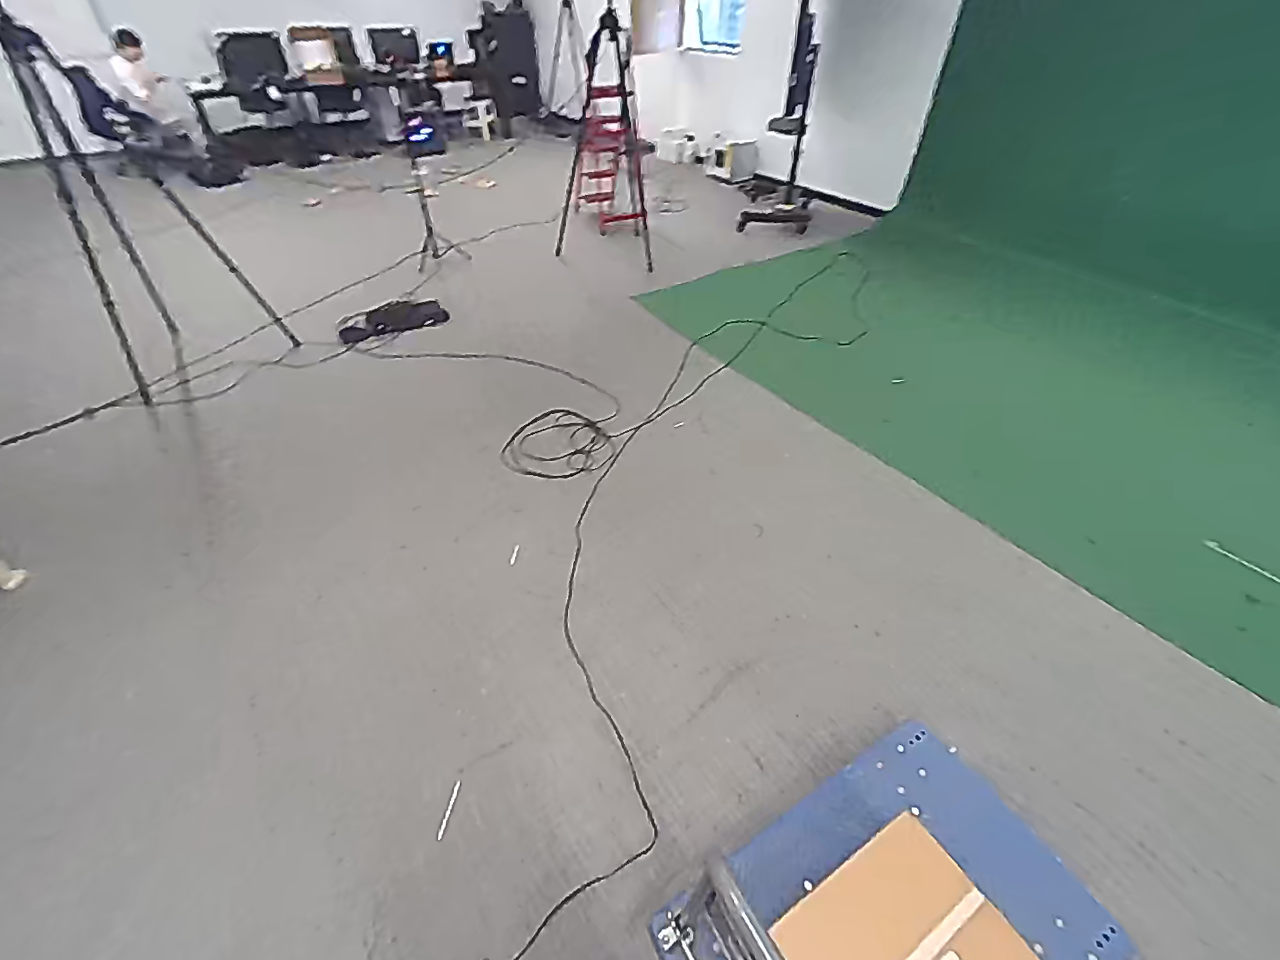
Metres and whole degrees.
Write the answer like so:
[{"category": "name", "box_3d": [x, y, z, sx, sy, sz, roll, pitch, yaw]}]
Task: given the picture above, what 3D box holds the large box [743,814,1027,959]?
[{"category": "large box", "box_3d": [0.419, 0.918, 0.979, 0.408, 0.320, 0.320, -21, 47, -24]}]
